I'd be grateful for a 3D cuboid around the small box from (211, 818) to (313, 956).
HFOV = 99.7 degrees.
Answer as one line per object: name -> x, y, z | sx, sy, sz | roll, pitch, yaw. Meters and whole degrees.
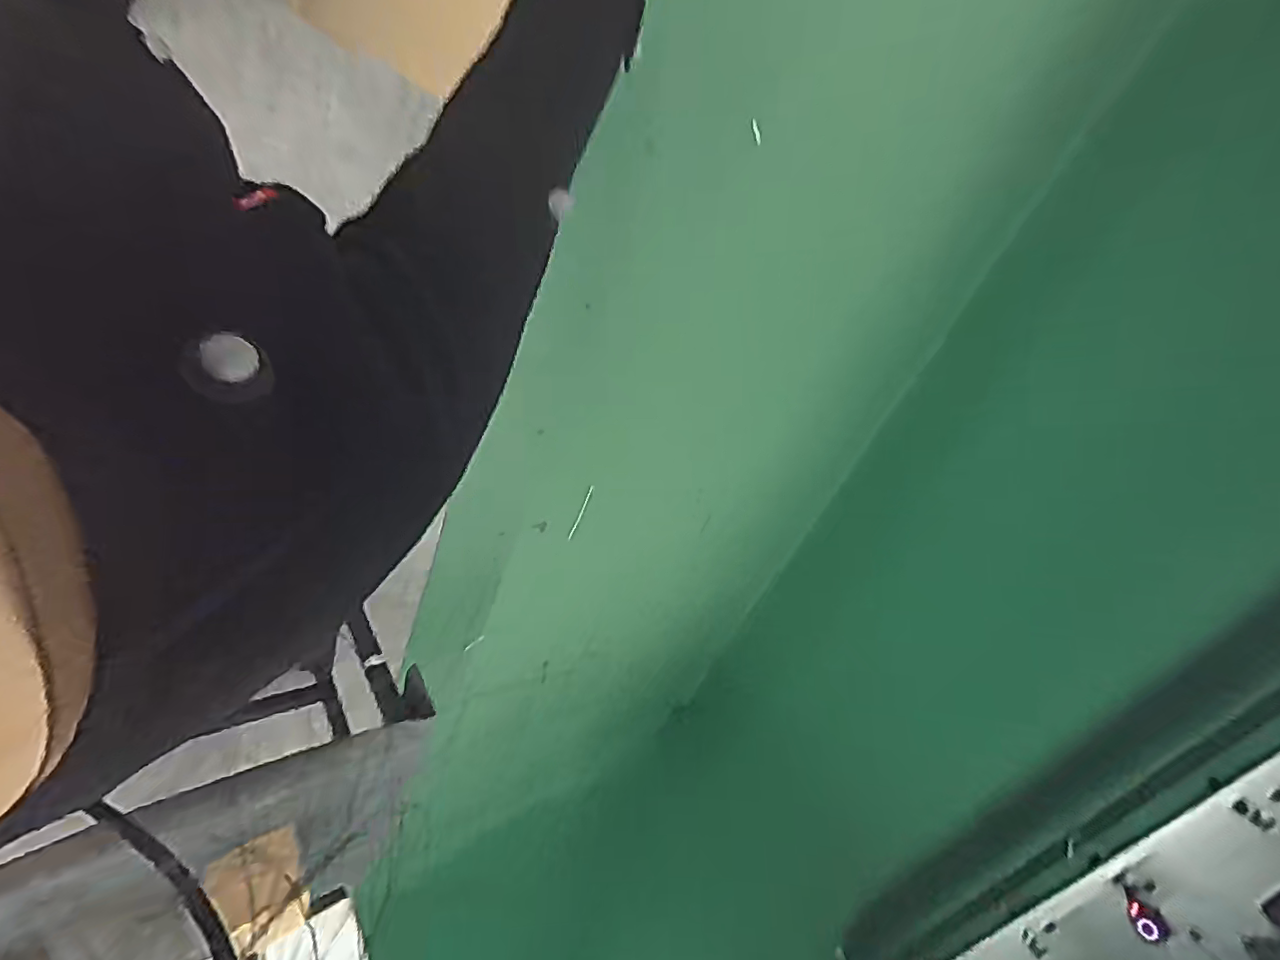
small box -> -0.870, 0.928, 1.247 | 0.168, 0.176, 0.179 | -10, 133, -42
